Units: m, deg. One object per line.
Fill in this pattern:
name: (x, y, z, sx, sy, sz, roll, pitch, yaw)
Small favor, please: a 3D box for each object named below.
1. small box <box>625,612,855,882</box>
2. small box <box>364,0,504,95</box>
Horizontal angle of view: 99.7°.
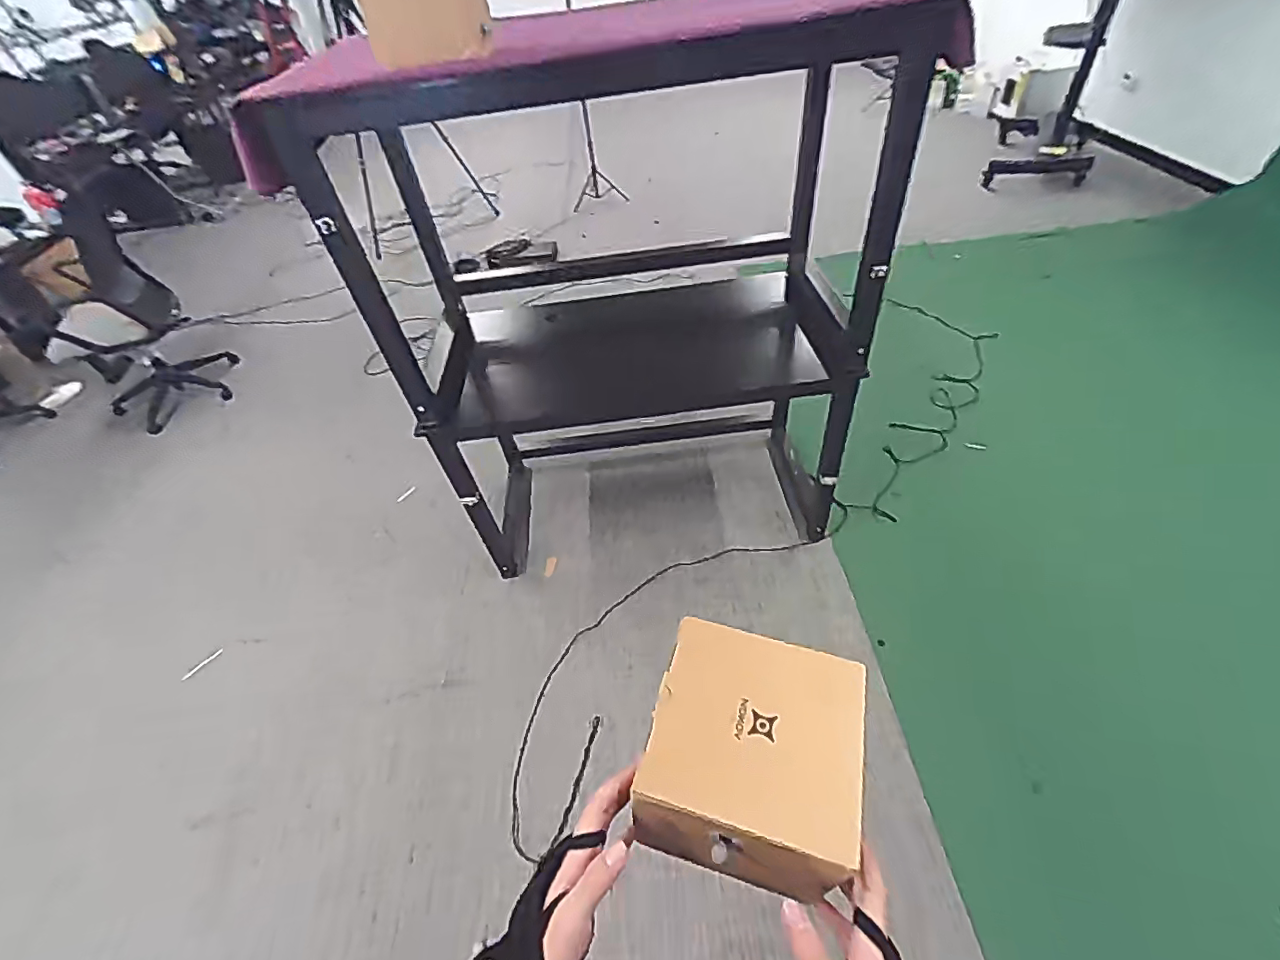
small box: (0.096, 0.260, 0.525, 0.179, 0.176, 0.168, 11, 45, 13)
small box: (-0.355, -0.789, 0.939, 0.179, 0.176, 0.168, -4, 45, 4)
